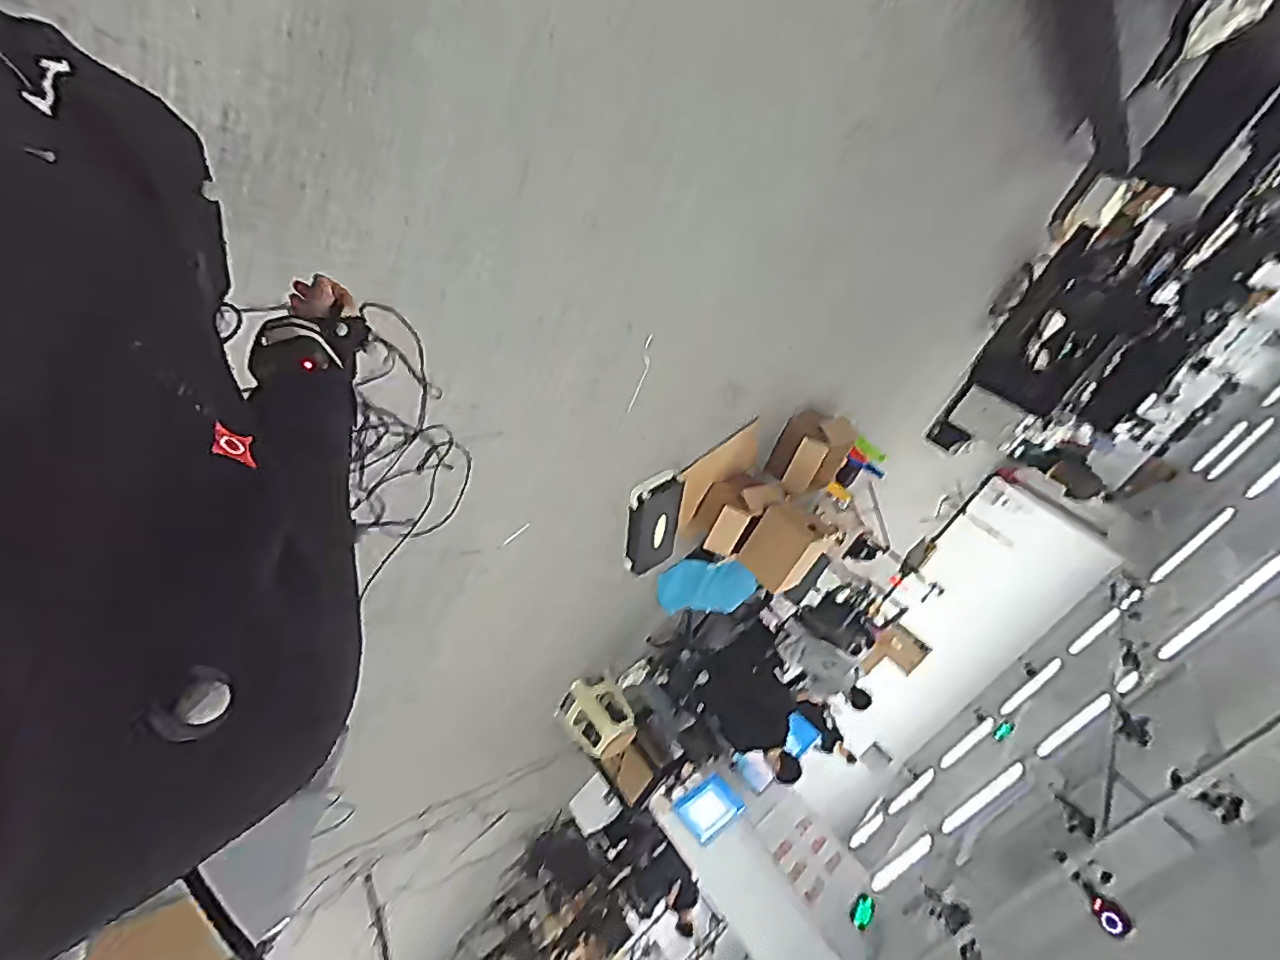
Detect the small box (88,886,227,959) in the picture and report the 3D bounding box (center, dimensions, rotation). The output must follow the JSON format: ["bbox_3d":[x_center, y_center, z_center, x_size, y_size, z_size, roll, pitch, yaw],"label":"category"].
[{"bbox_3d":[-0.910,0.924,1.012,0.179,0.176,0.168,0,128,-52],"label":"small box"}]
